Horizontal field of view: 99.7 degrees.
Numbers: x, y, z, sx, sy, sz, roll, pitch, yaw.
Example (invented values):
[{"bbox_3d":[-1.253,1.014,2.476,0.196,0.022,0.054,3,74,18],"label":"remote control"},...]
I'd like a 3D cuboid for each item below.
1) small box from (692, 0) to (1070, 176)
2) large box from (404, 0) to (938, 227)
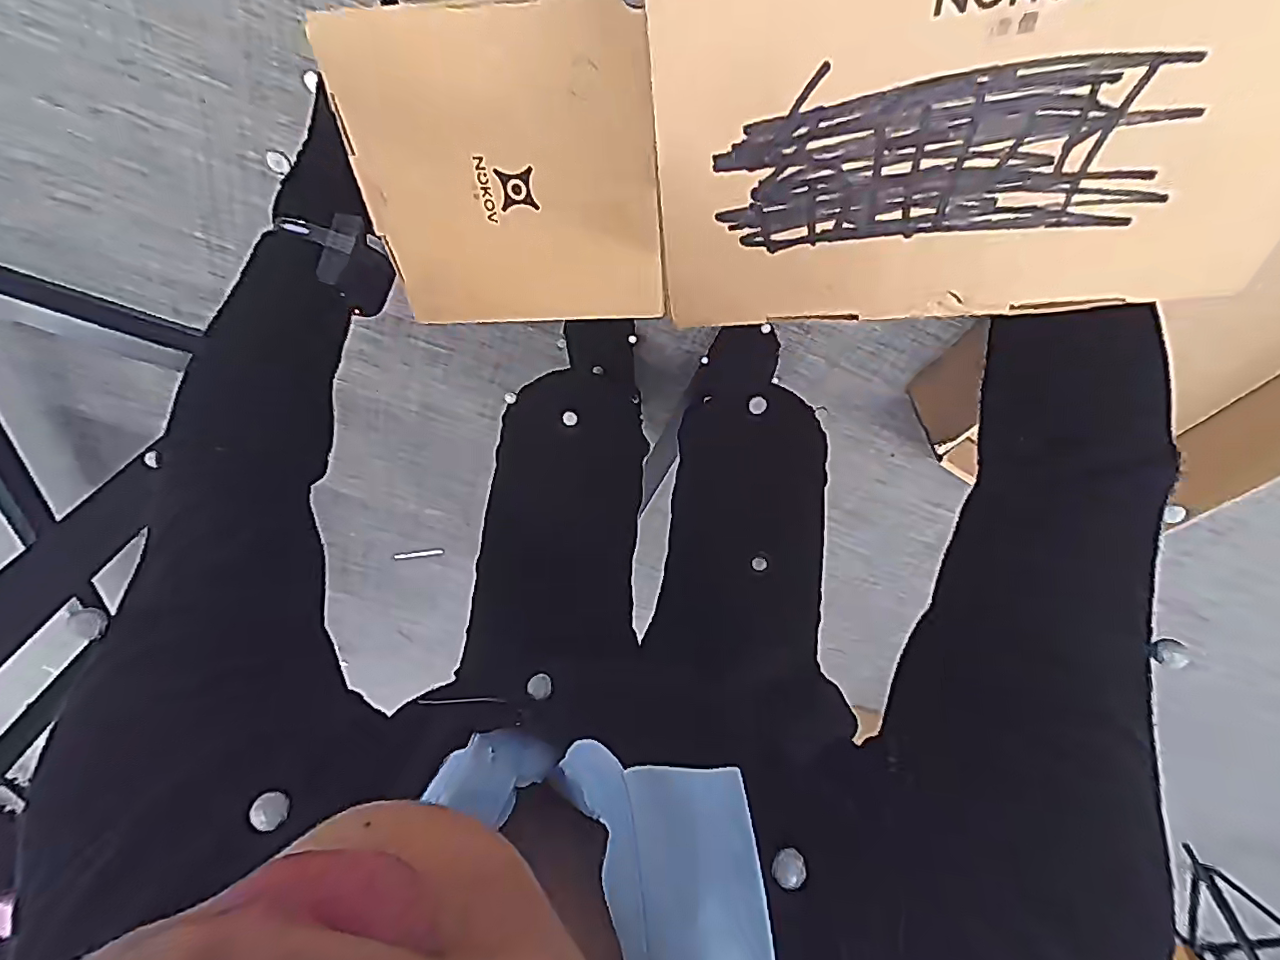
[{"bbox_3d":[0.110,-0.284,0.284,0.168,0.176,0.179,-1,133,9],"label":"small box"},{"bbox_3d":[0.040,-0.449,0.475,0.408,0.320,0.320,0,131,9],"label":"large box"}]
